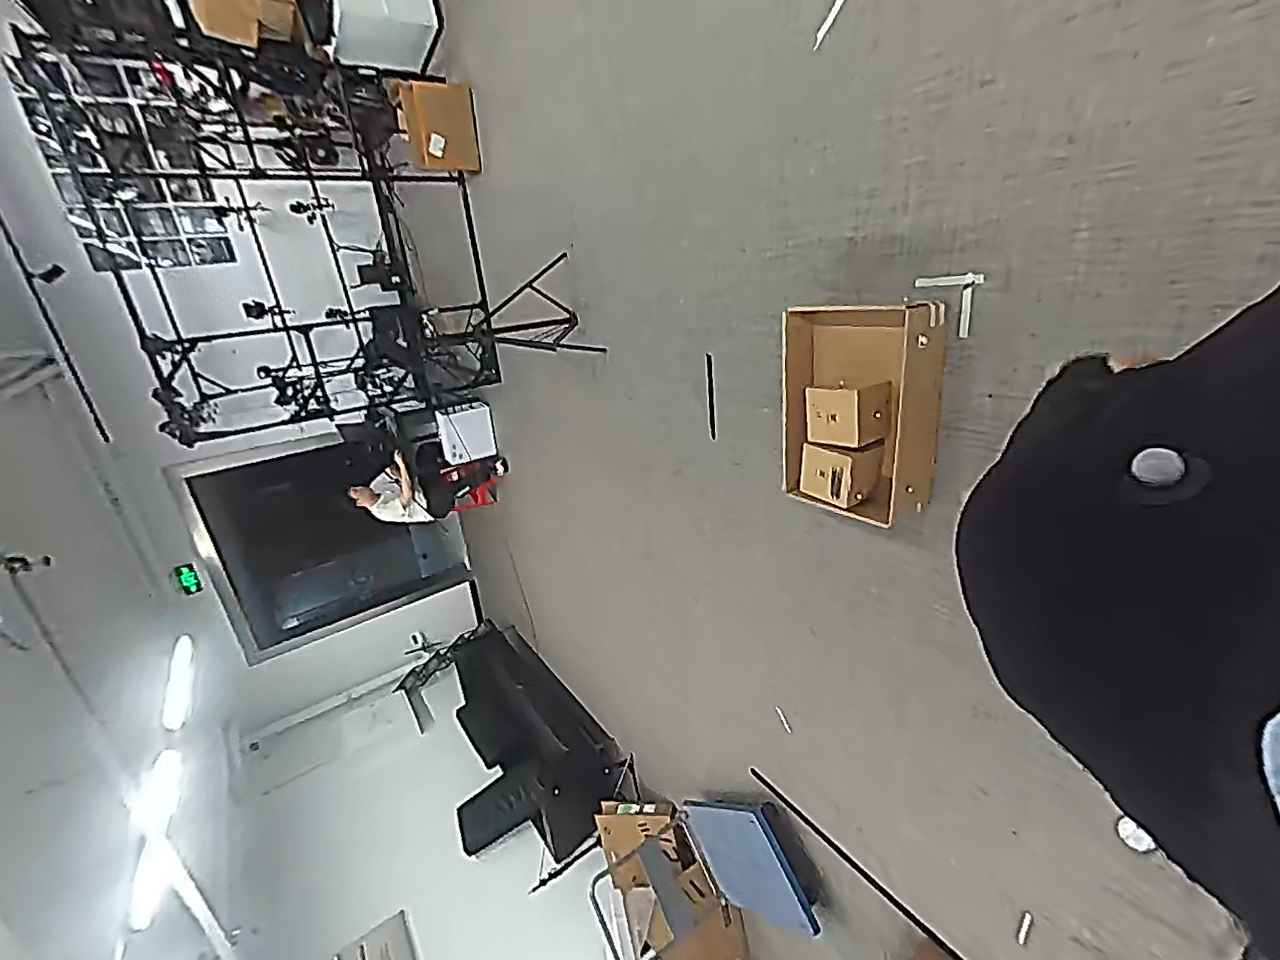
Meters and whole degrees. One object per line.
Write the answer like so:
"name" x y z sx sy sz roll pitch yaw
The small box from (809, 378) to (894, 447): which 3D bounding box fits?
"small box" 0.628 -0.207 1.600 0.179 0.176 0.168 17 120 54
